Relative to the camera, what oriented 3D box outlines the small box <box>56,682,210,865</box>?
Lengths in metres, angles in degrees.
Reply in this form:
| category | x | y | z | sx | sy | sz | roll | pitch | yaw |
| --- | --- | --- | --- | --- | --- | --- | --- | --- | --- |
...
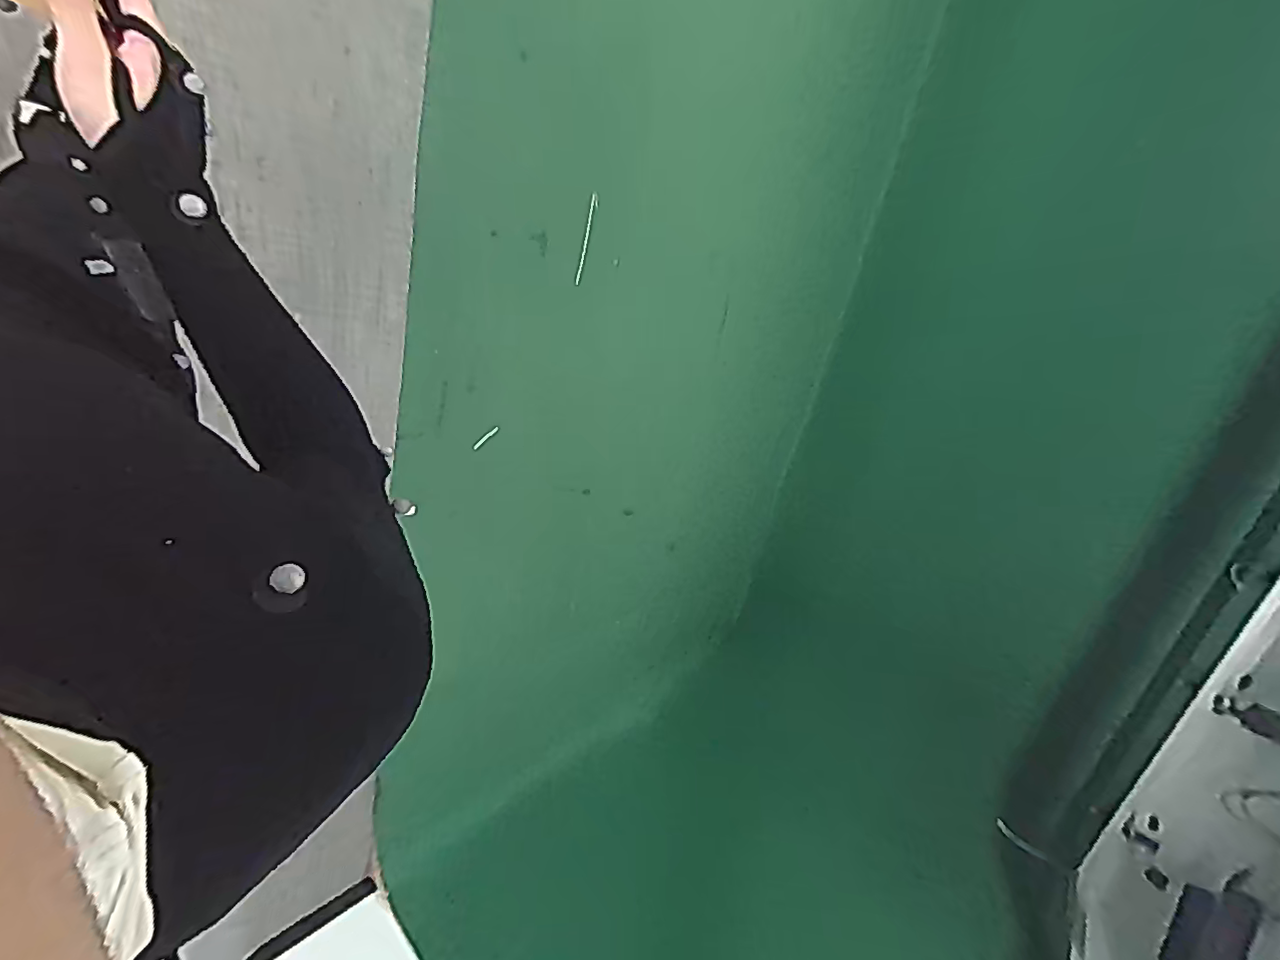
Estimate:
| category | x | y | z | sx | sy | sz | roll | pitch | yaw |
| --- | --- | --- | --- | --- | --- | --- | --- | --- | --- |
| small box | -0.859 | 0.483 | 0.917 | 0.168 | 0.176 | 0.179 | -5 | 116 | -52 |
